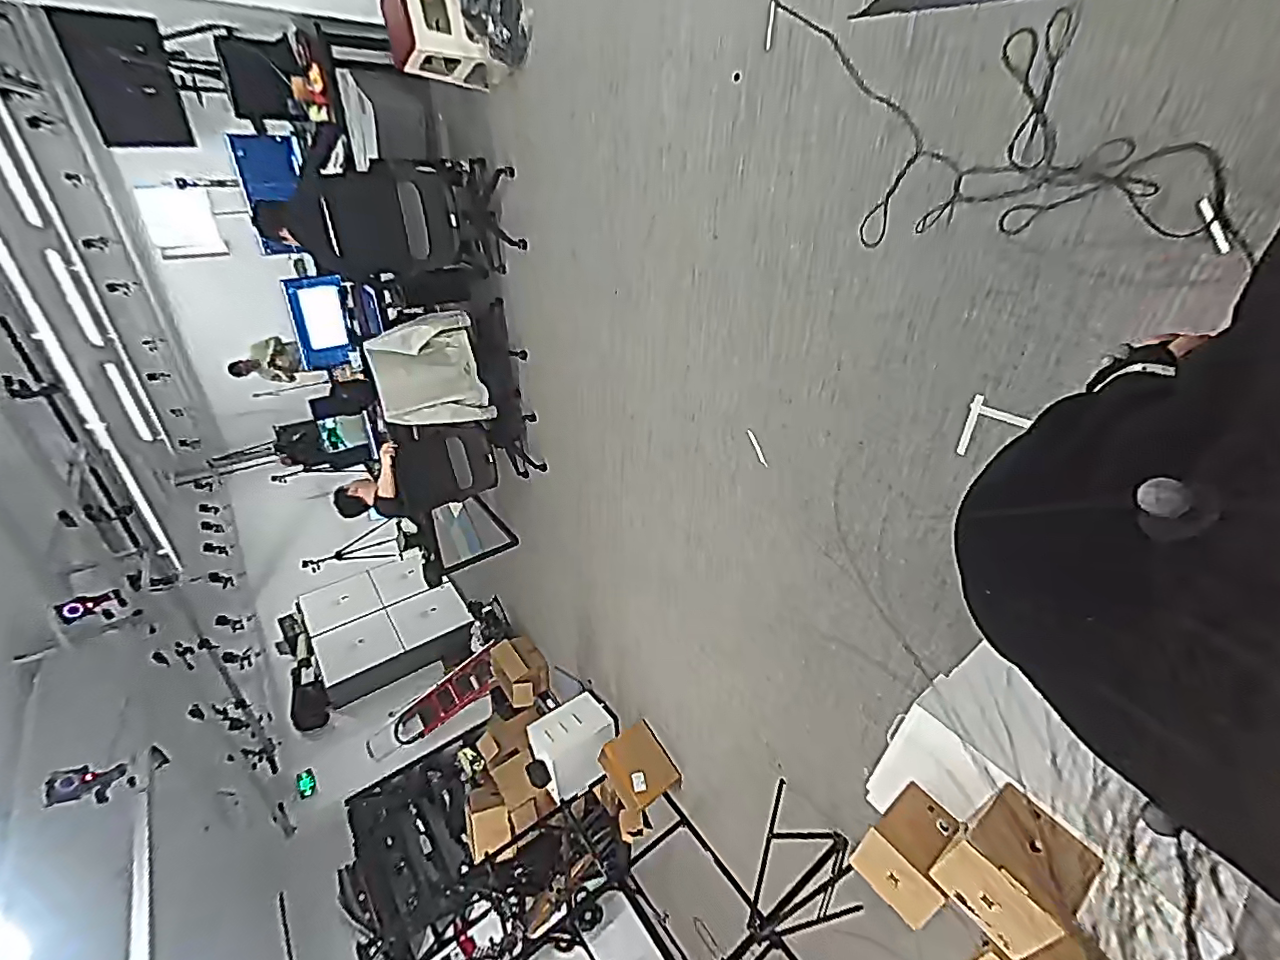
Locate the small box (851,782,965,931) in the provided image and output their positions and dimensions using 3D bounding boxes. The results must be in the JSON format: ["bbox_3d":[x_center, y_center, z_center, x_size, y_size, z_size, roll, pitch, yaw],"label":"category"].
[{"bbox_3d":[0.594,0.806,1.168,0.168,0.176,0.179,37,135,39],"label":"small box"}]

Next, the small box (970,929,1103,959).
[{"bbox_3d":[0.743,0.928,1.008,0.168,0.176,0.179,40,139,39],"label":"small box"}]

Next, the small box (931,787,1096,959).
[{"bbox_3d":[0.676,0.704,0.979,0.168,0.176,0.179,40,139,38],"label":"small box"}]
